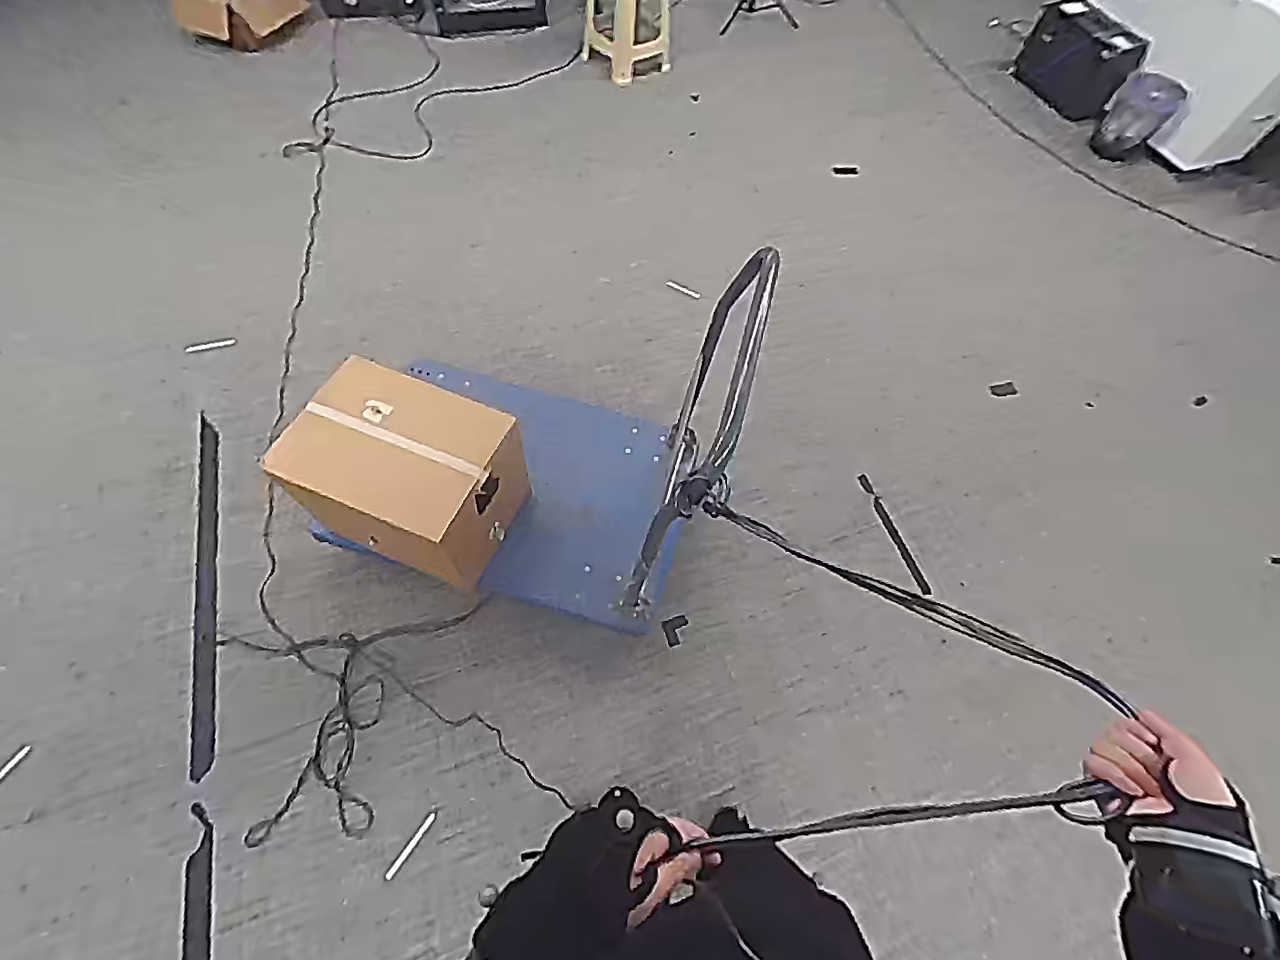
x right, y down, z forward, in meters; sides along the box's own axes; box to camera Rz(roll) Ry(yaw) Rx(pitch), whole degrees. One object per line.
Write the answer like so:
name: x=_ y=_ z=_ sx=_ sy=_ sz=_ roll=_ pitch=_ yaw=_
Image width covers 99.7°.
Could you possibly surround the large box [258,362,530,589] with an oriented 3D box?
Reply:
large box: x=-0.507 y=0.000 z=1.214 sx=0.408 sy=0.320 sz=0.320 roll=20 pitch=61 yaw=7
